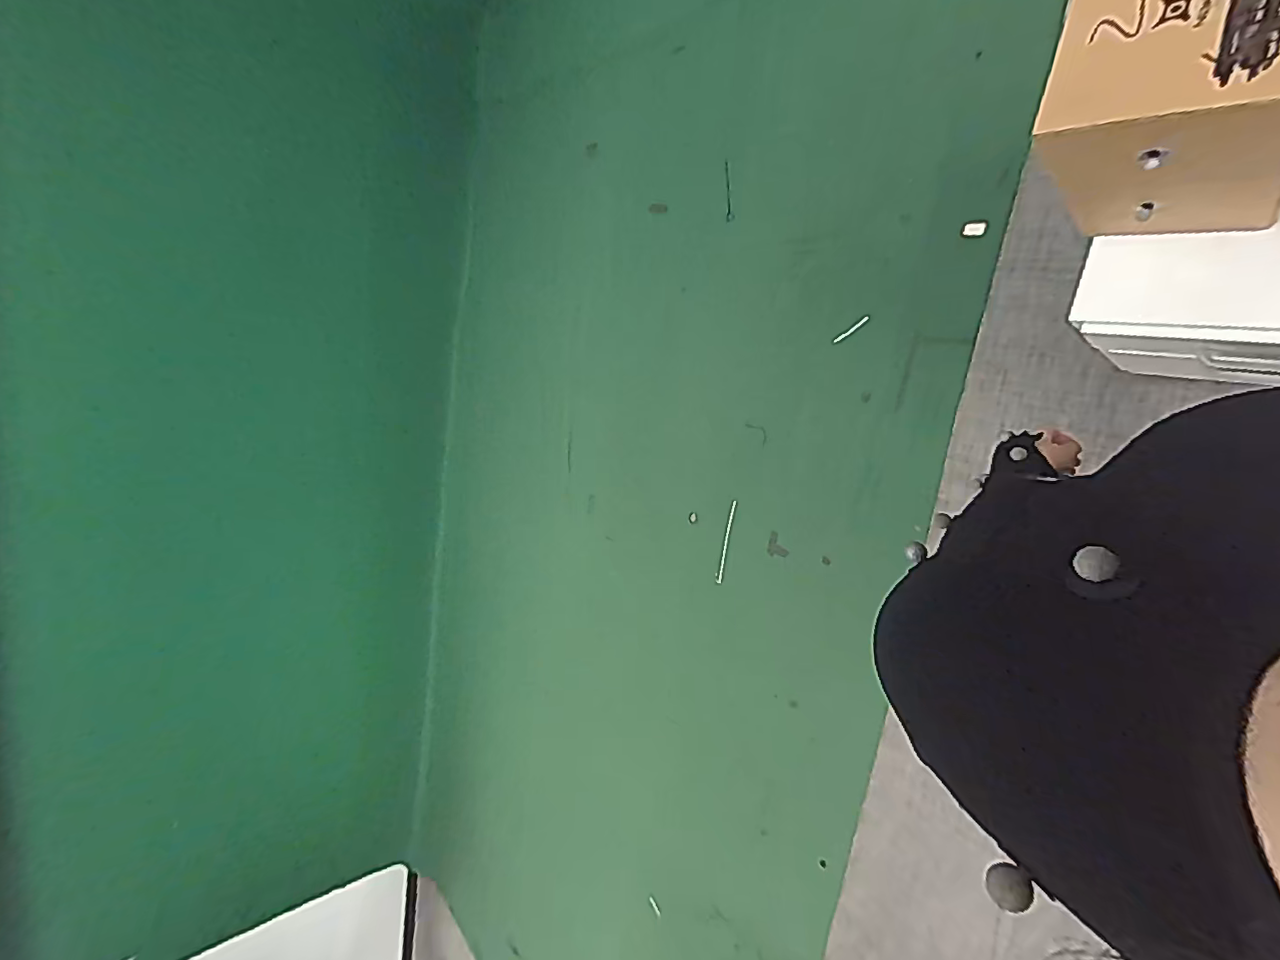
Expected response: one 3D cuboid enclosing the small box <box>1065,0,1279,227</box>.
[{"bbox_3d":[0.625,-0.397,0.610,0.179,0.176,0.168,21,107,43],"label":"small box"}]
